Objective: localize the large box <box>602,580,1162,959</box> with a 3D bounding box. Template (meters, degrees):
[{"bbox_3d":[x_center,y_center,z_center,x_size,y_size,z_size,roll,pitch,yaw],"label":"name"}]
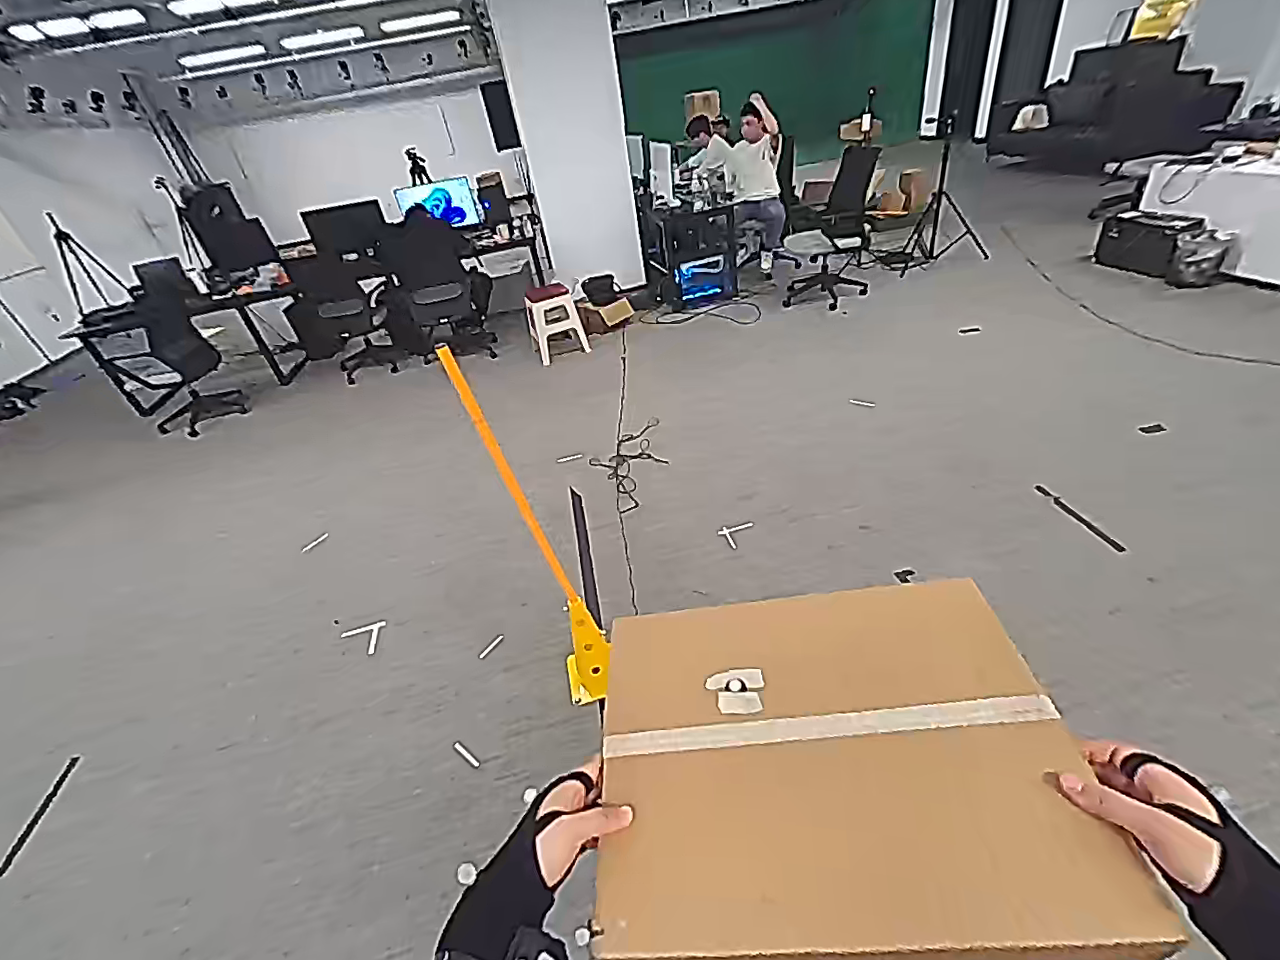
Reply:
[{"bbox_3d":[0.200,0.354,0.596,0.408,0.320,0.320,-11,35,9],"label":"large box"}]
